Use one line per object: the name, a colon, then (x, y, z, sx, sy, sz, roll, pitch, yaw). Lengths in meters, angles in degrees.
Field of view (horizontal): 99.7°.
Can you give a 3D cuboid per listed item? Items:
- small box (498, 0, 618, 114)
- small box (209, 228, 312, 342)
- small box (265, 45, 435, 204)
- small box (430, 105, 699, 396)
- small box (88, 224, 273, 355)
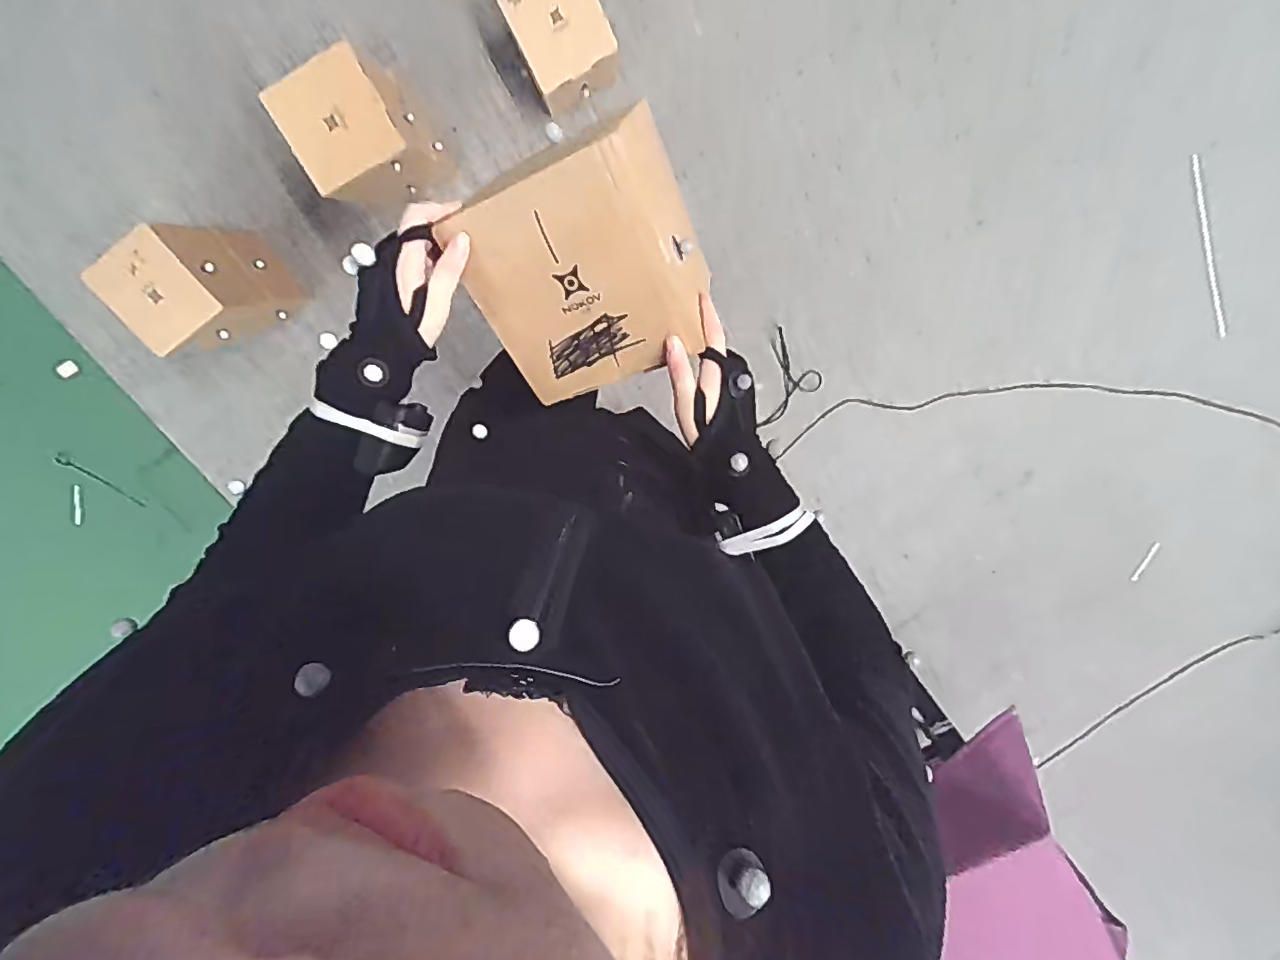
small box: (-0.152, -0.861, 1.070, 0.168, 0.176, 0.179, -26, 111, 7)
small box: (-0.883, -0.436, 1.205, 0.168, 0.176, 0.179, -30, 110, 8)
small box: (-0.505, -0.620, 0.973, 0.179, 0.176, 0.168, -25, 111, 7)
small box: (-0.050, -0.212, 0.505, 0.168, 0.176, 0.179, -14, 126, 21)
small box: (-0.875, -0.371, 1.054, 0.168, 0.176, 0.179, -31, 110, 8)
